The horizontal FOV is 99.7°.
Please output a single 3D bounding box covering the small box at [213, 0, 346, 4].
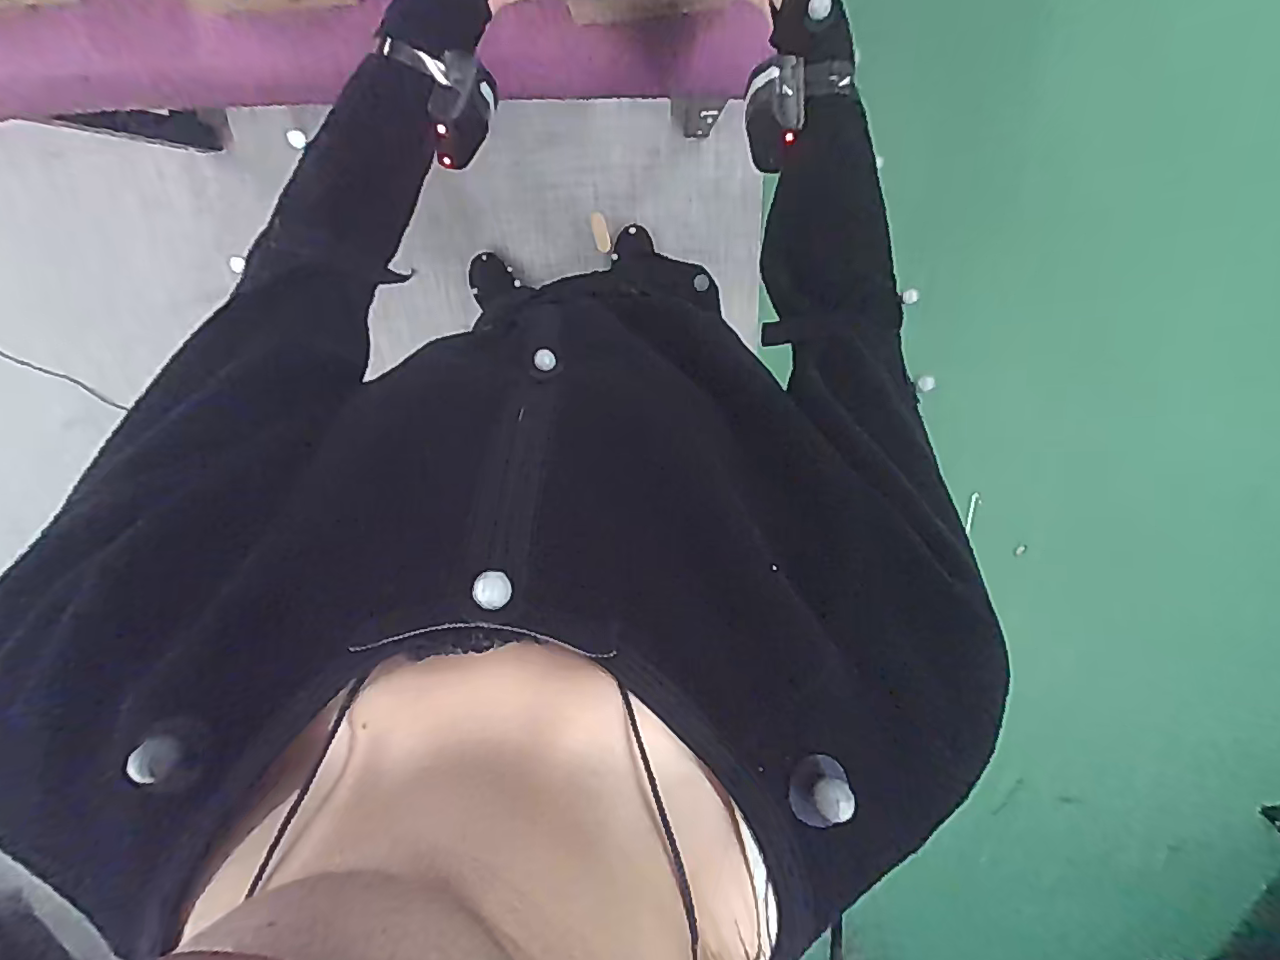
[{"bbox_3d":[-0.376,-0.541,0.459,0.168,0.176,0.179,-1,113,1],"label":"small box"}]
